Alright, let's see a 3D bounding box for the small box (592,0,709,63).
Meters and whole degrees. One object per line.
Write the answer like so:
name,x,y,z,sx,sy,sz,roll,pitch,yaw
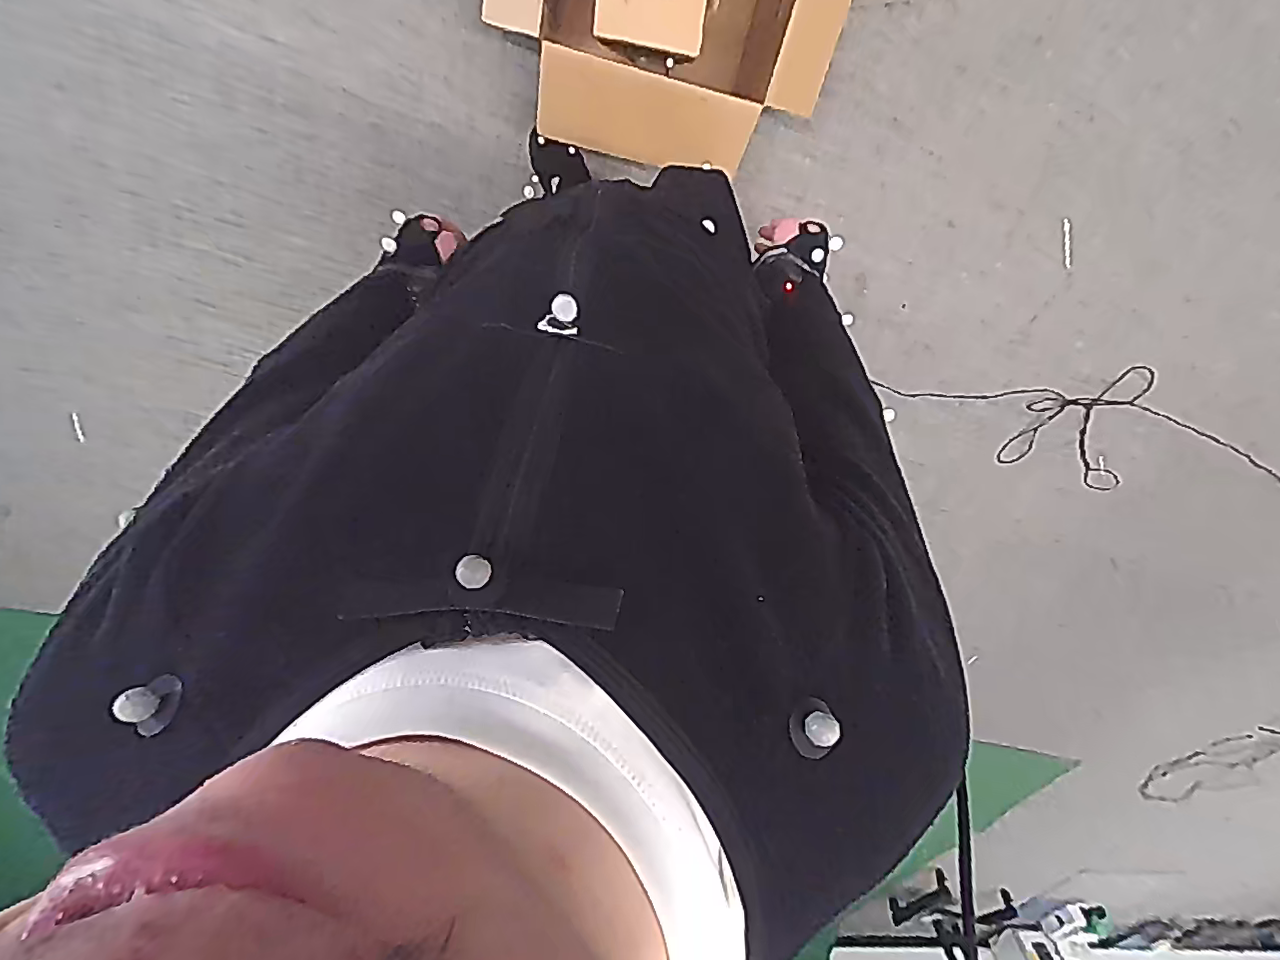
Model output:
small box,0.023,-0.808,0.891,0.179,0.176,0.168,9,122,-4
